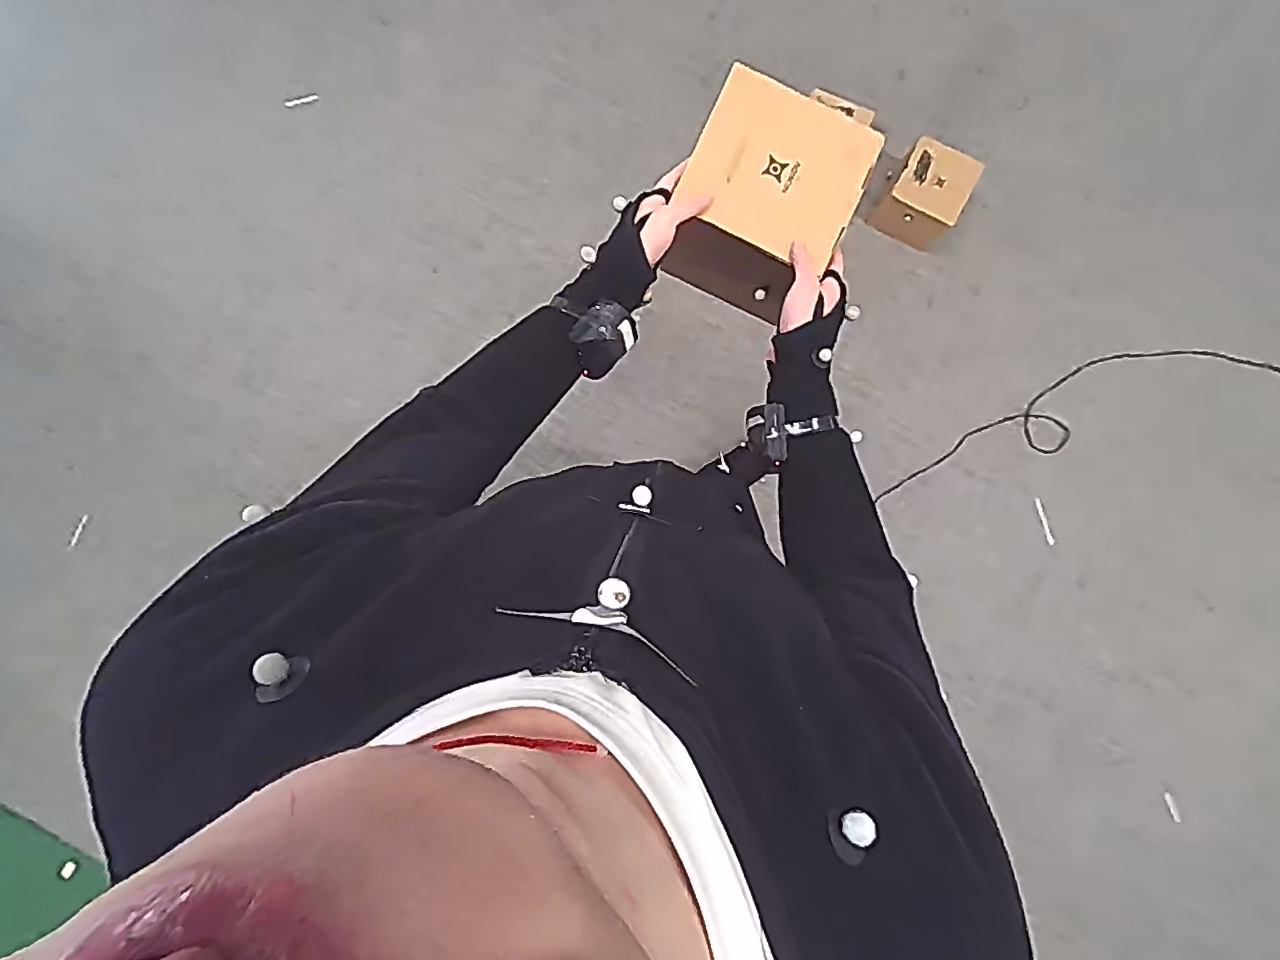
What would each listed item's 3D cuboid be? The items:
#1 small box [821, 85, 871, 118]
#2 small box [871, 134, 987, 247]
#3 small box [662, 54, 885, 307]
[{"bbox_3d":[0.485,-0.877,1.407,0.179,0.176,0.168,-6,90,4],"label":"small box"},{"bbox_3d":[0.738,-0.741,1.404,0.179,0.176,0.168,32,95,2],"label":"small box"},{"bbox_3d":[0.139,-0.326,0.631,0.179,0.176,0.168,26,88,0],"label":"small box"}]
